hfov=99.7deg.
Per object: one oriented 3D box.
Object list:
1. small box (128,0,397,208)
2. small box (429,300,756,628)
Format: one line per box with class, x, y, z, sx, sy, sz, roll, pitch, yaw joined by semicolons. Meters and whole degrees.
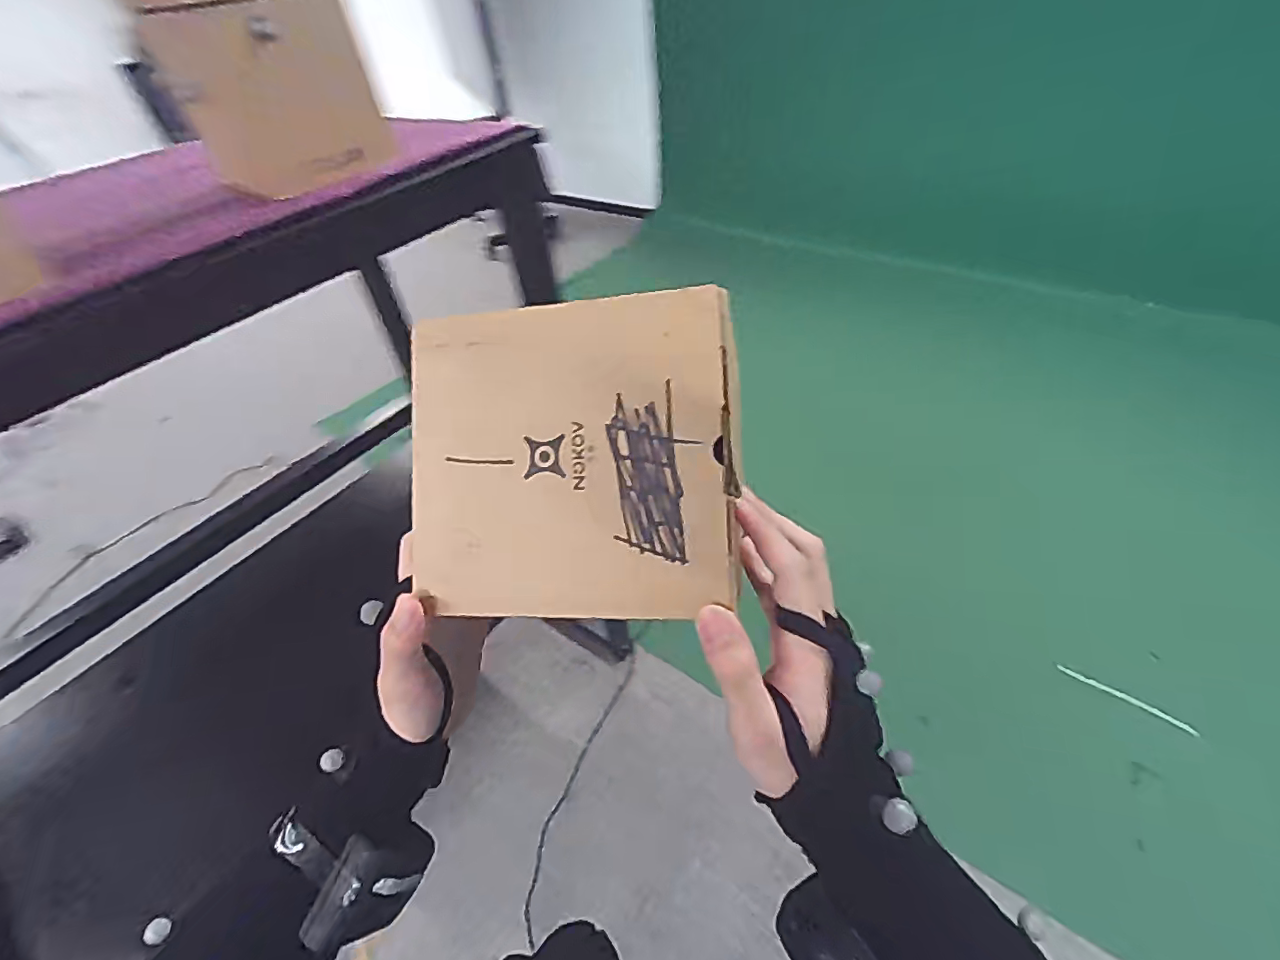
small box;-0.428;-0.438;0.635;0.179;0.176;0.168;27;55;30
small box;-0.015;-0.003;0.360;0.179;0.176;0.168;-2;86;13
